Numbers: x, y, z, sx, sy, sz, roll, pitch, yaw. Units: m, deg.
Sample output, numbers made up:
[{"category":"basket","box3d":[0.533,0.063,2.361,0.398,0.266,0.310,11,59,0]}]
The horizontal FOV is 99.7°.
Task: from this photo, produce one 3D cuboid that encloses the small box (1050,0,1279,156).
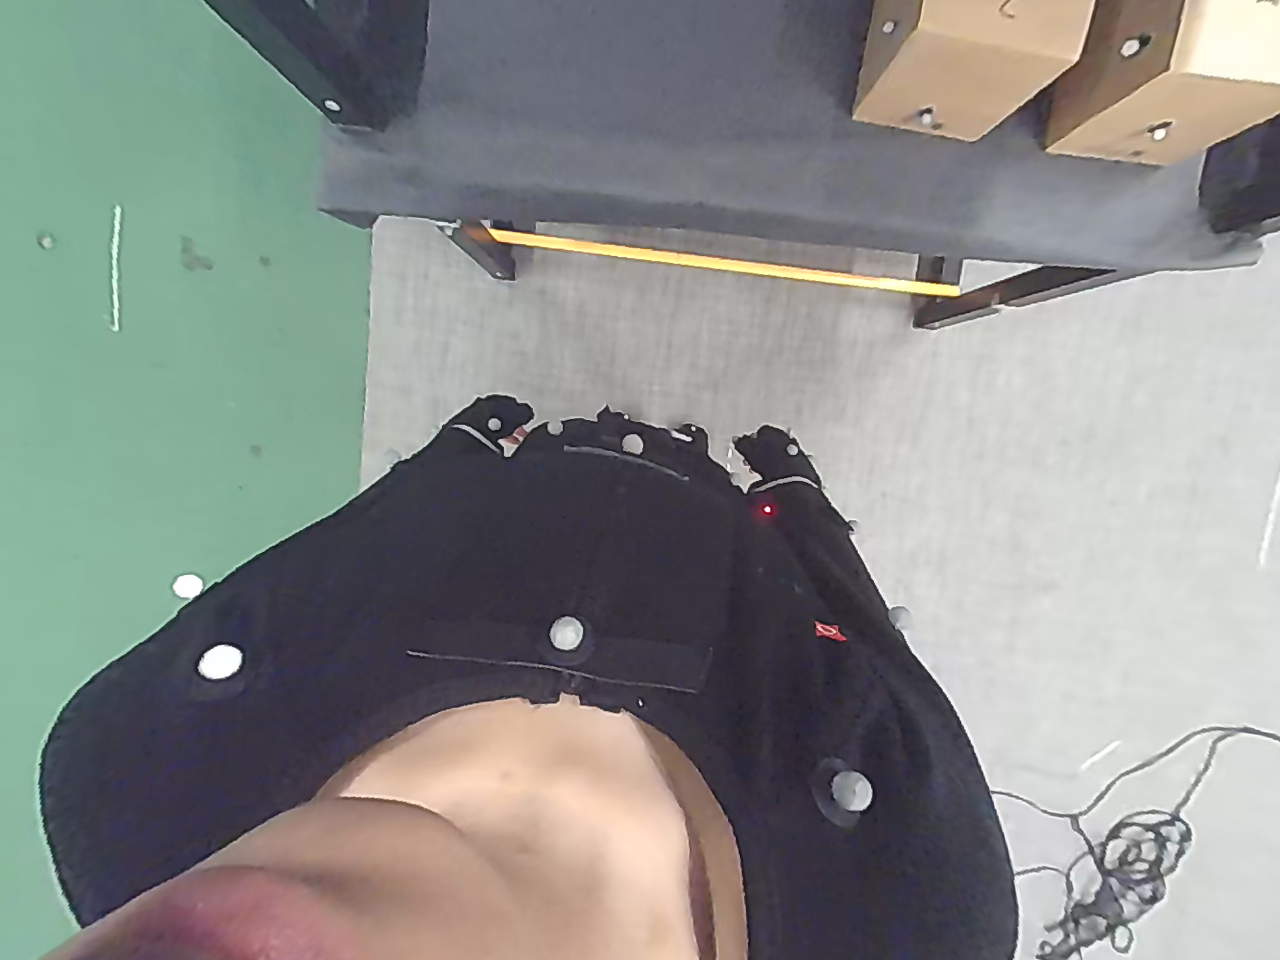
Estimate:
[{"category":"small box","box3d":[0.605,-0.492,0.601,0.168,0.176,0.179,6,97,-1]}]
